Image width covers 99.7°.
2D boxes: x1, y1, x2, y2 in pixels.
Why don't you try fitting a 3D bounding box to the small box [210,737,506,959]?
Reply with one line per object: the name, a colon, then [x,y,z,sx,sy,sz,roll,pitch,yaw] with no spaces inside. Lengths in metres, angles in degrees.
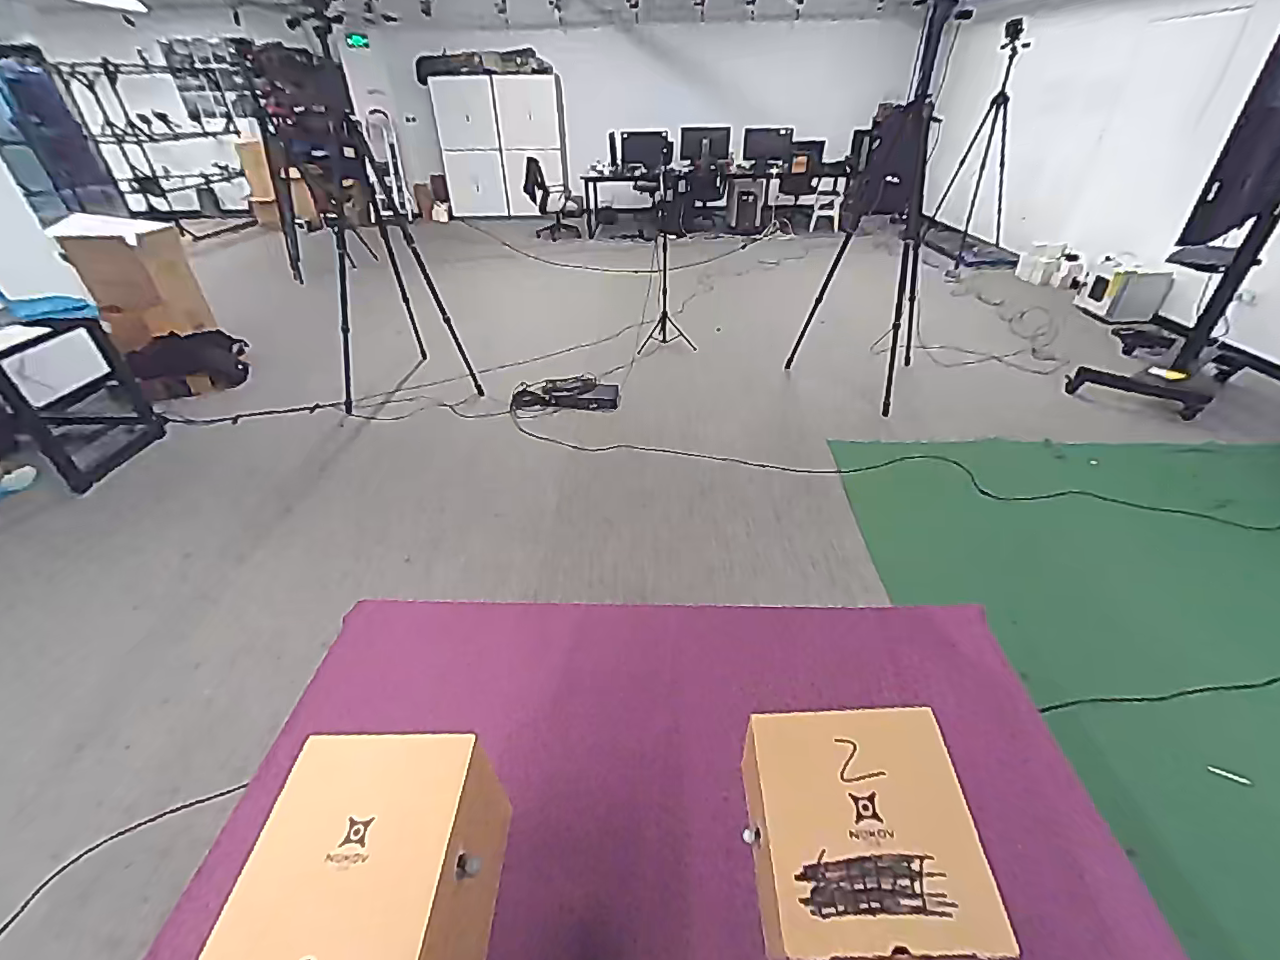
small box: [-0.235,0.369,0.512,0.168,0.176,0.179,-2,40,3]
